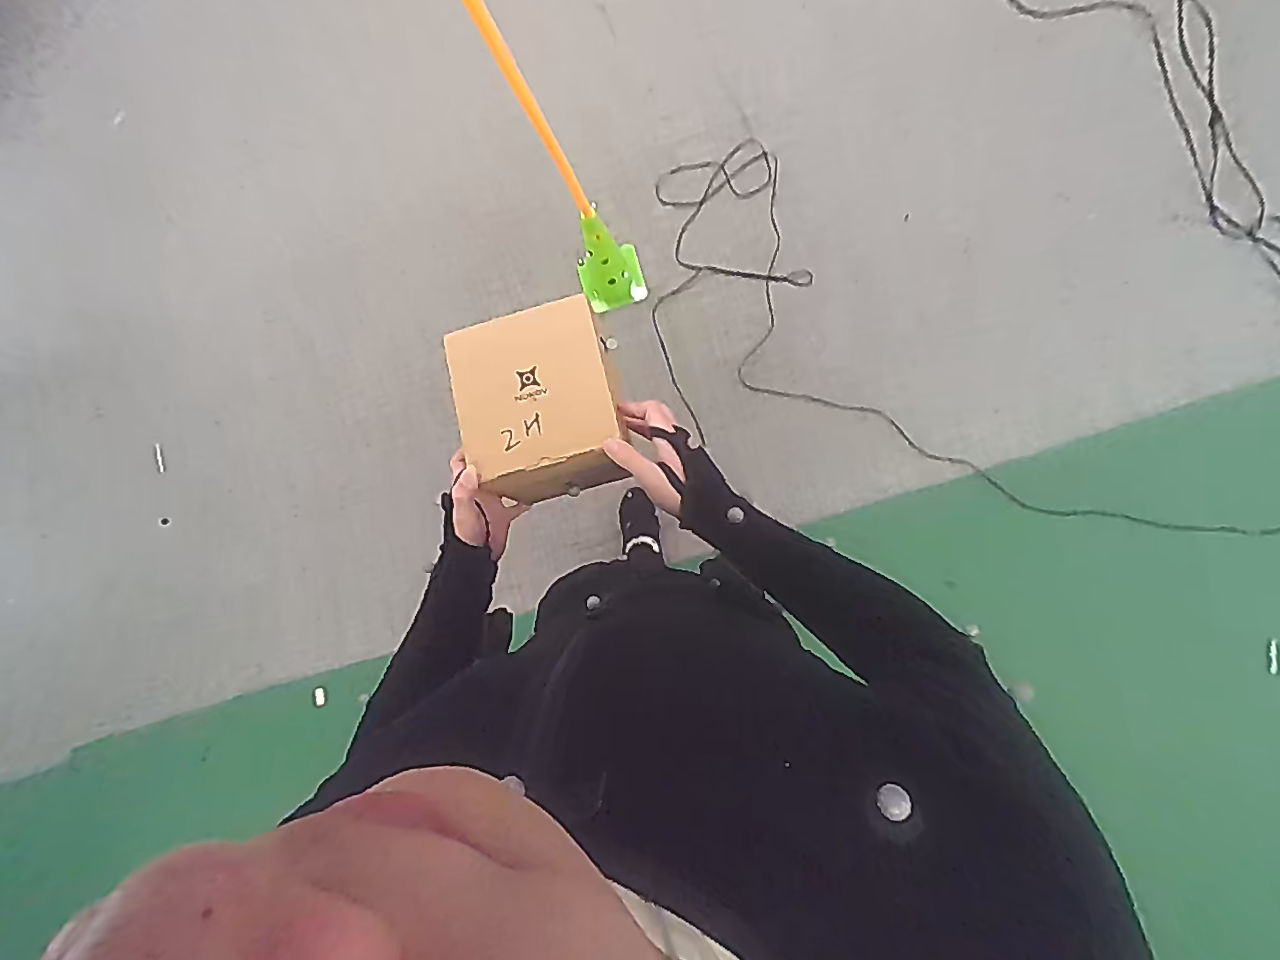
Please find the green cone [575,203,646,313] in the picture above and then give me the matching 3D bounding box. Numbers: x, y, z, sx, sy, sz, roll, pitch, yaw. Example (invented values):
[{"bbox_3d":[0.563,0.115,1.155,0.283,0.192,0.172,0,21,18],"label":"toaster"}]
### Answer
[{"bbox_3d":[-0.114,-0.669,1.572,0.202,0.368,0.200,-17,81,3],"label":"green cone"}]
